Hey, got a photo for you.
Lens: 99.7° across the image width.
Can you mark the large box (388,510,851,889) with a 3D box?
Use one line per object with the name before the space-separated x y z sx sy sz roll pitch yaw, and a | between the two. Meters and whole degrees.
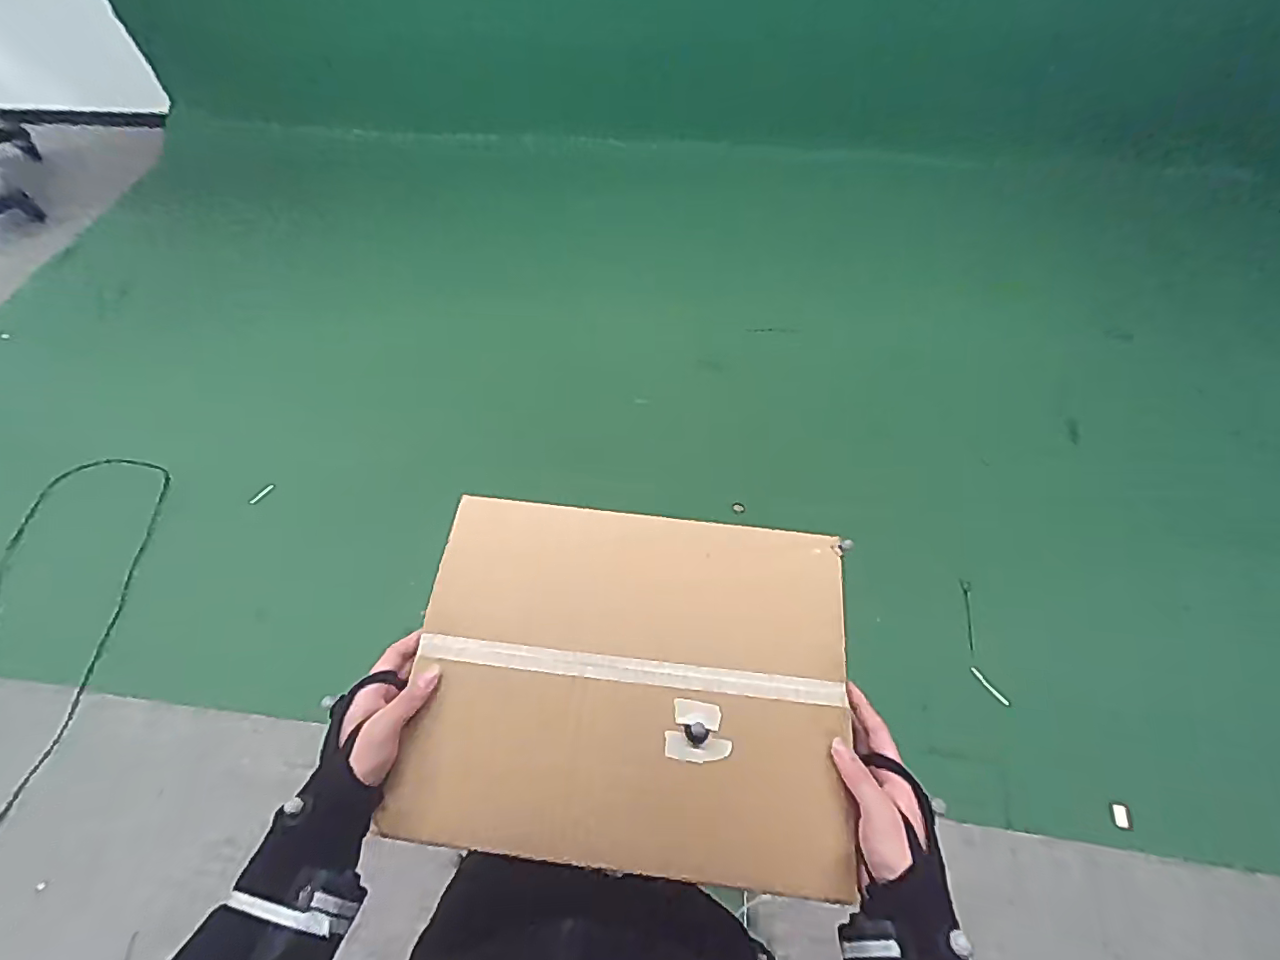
large box | -0.009 0.251 0.654 0.408 0.320 0.320 6 65 3
